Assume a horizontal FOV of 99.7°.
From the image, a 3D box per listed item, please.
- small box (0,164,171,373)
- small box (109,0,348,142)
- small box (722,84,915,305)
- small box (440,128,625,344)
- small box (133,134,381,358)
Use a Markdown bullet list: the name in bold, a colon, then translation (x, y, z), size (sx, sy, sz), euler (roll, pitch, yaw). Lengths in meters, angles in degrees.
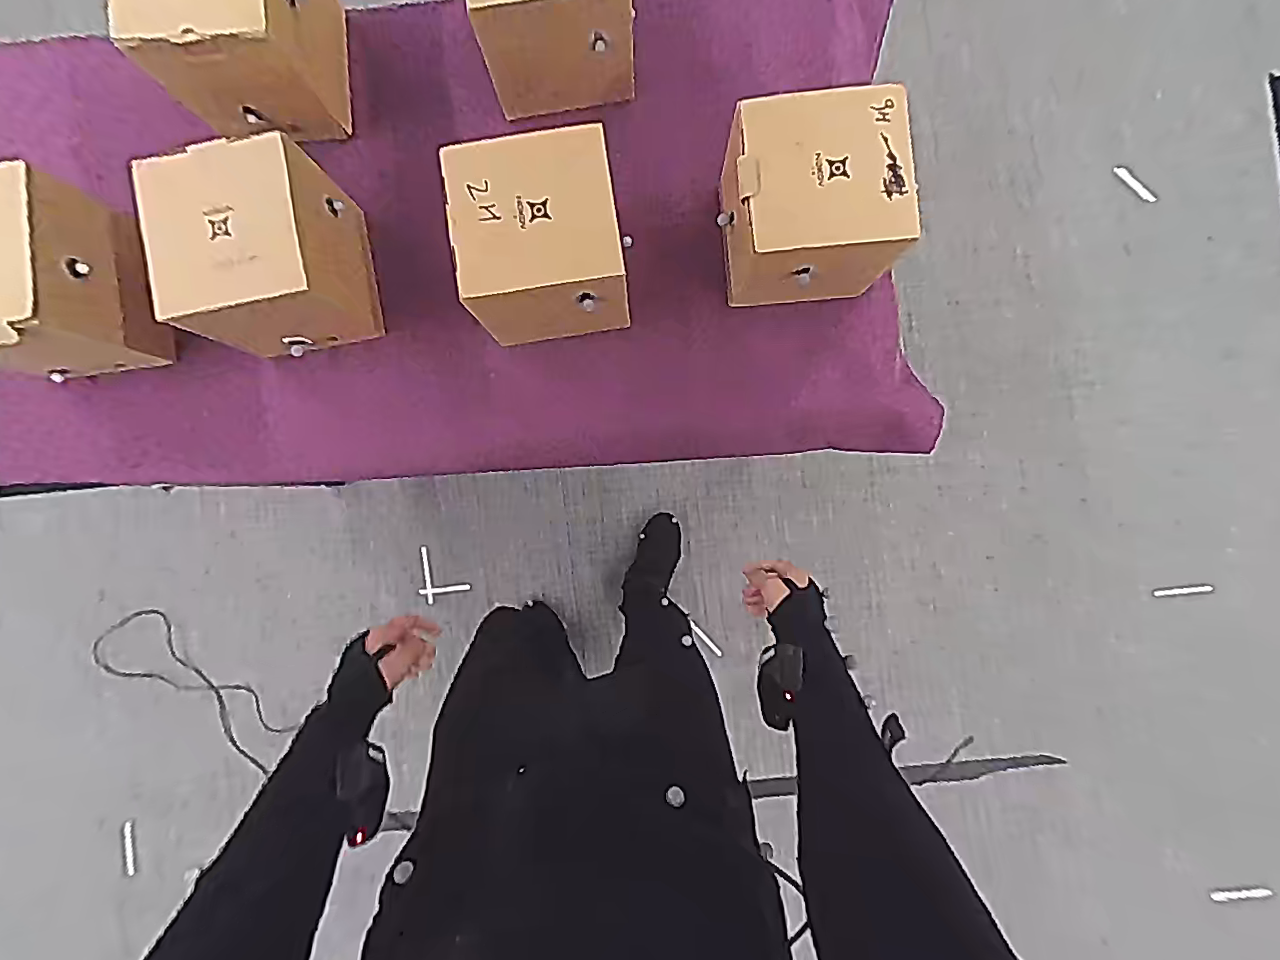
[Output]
- **small box**: translation (-0.711, -0.234, 0.646), size (0.168, 0.176, 0.179), euler (-8, 87, 0)
- **small box**: translation (-0.476, -0.543, 0.648), size (0.168, 0.176, 0.179), euler (-4, 89, 0)
- **small box**: translation (0.193, -0.317, 0.636), size (0.179, 0.176, 0.168), euler (-5, 89, 2)
- **small box**: translation (-0.112, -0.272, 0.640), size (0.179, 0.176, 0.168), euler (-8, 87, 1)
- **small box**: translation (-0.438, -0.263, 0.645), size (0.168, 0.176, 0.179), euler (-11, 88, 1)
